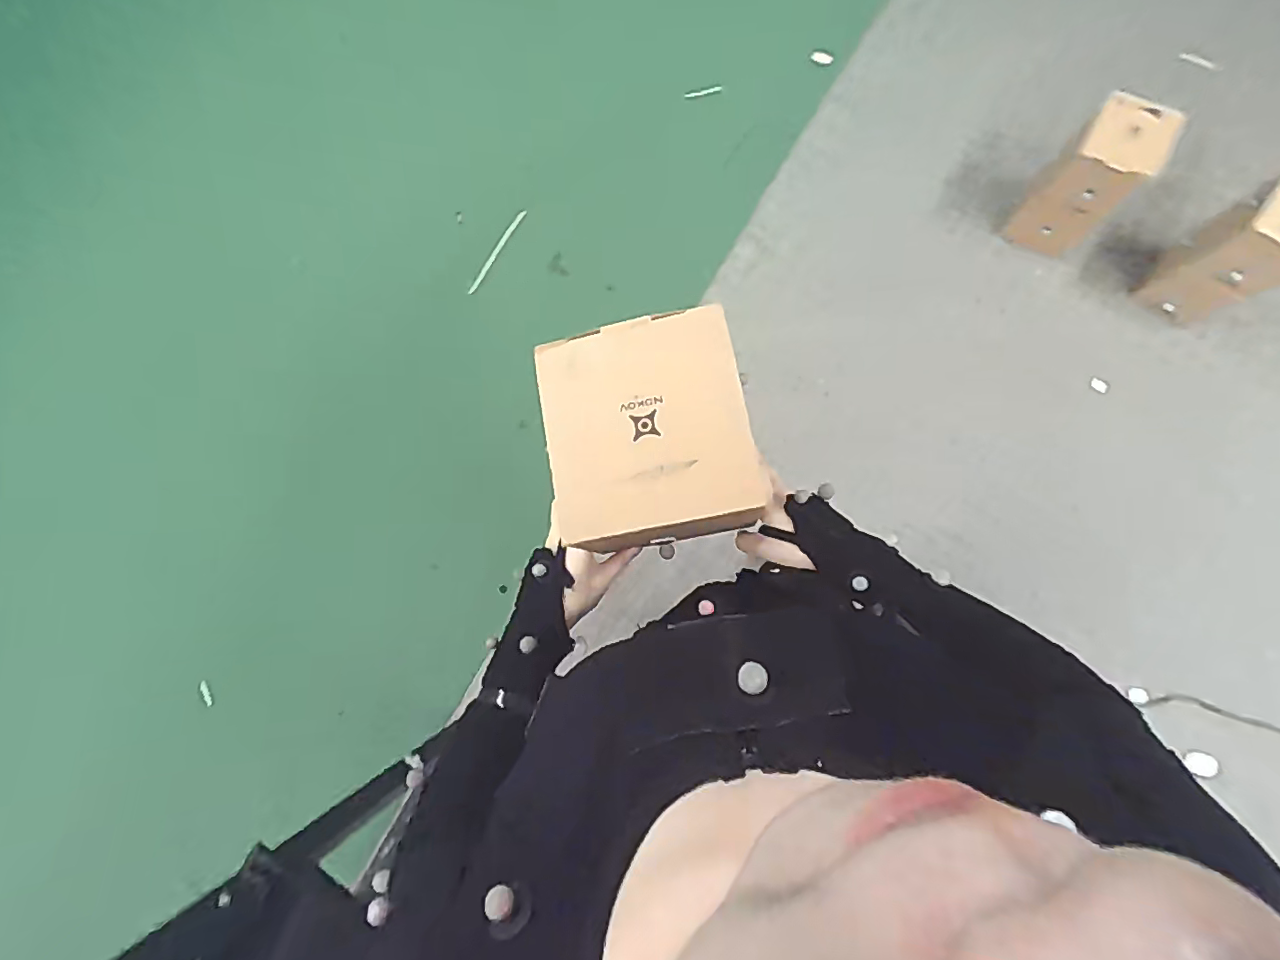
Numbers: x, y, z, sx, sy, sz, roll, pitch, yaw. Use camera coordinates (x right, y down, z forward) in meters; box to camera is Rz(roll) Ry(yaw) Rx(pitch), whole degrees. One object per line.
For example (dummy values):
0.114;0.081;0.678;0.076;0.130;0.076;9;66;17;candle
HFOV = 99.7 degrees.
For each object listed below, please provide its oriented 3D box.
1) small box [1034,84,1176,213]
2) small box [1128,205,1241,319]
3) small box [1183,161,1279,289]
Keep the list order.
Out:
1.089;-0.777;1.286;0.168;0.176;0.179;27;87;9;small box
1.426;-0.552;1.388;0.168;0.176;0.179;36;89;9;small box
1.412;-0.573;1.225;0.168;0.176;0.179;34;88;10;small box
